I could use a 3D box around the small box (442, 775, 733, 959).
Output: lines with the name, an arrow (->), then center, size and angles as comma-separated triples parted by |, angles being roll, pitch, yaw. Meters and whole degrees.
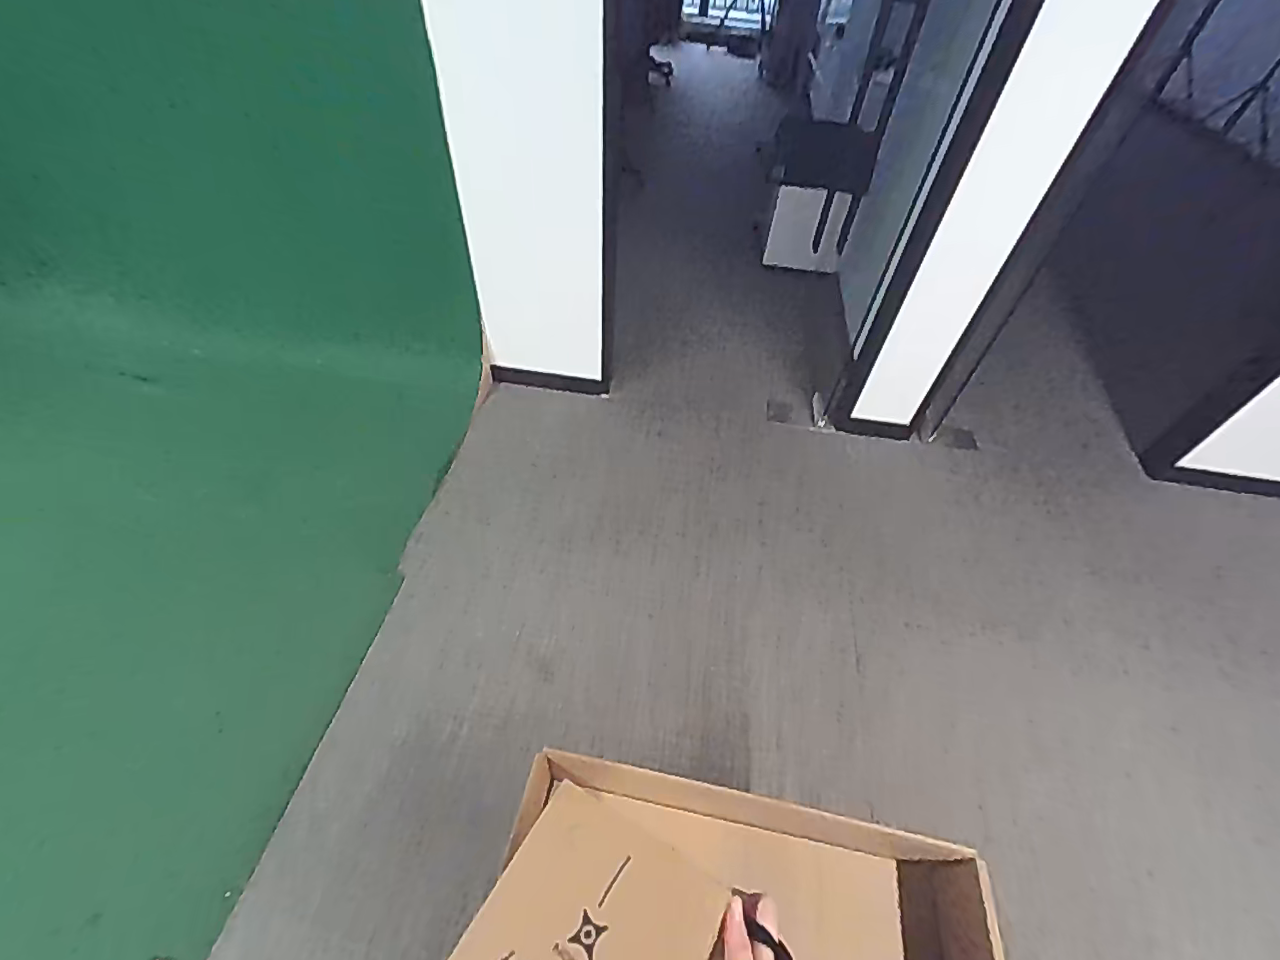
small box -> -0.031, 0.396, 0.446 | 0.168, 0.176, 0.179 | 18, 49, 30
